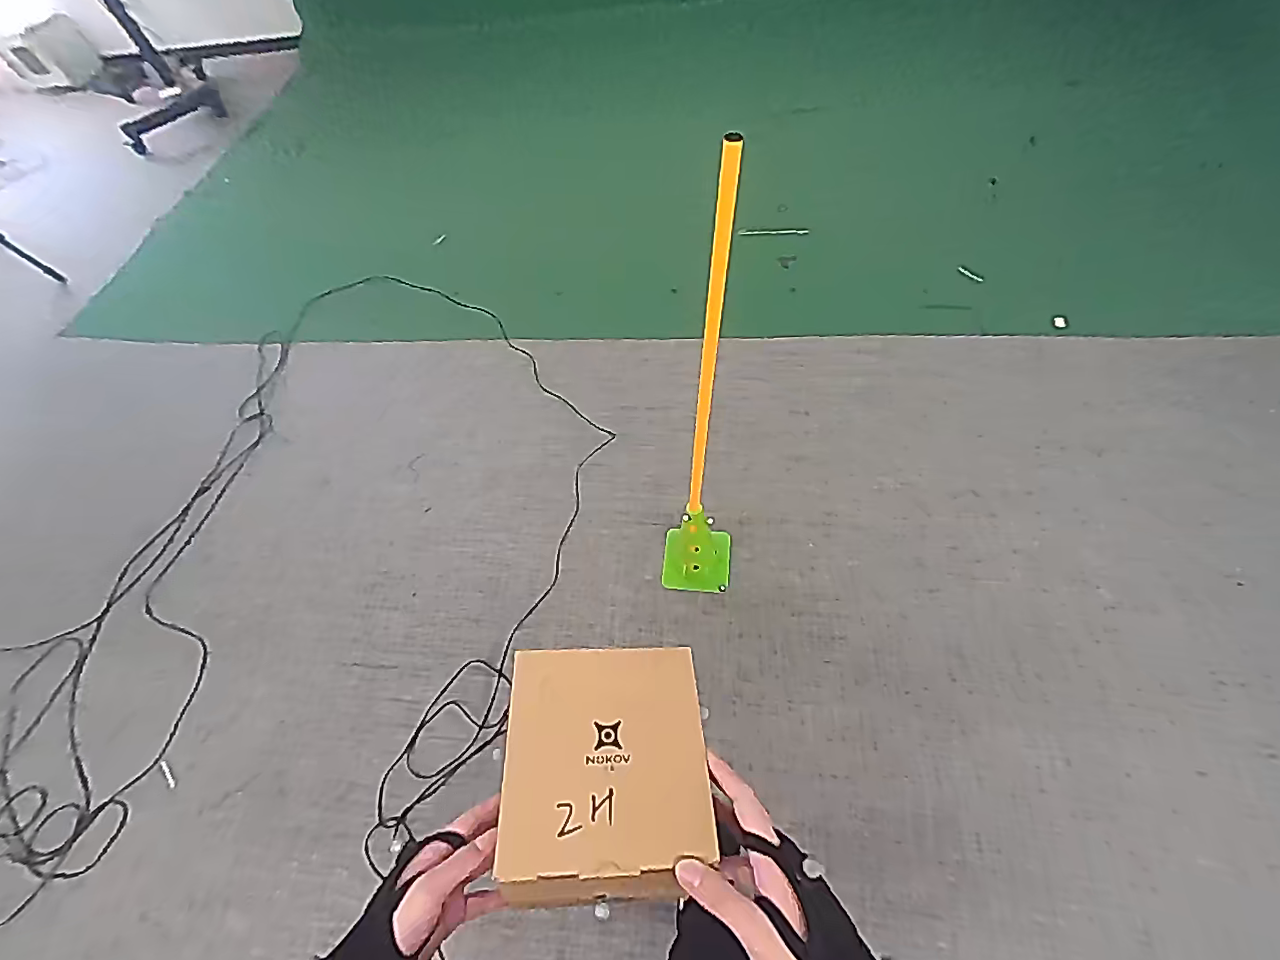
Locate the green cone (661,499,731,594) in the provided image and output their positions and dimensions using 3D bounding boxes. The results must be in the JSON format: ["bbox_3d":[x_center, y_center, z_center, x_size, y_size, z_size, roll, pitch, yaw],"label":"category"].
[{"bbox_3d":[0.150,0.154,1.496,0.202,0.368,0.200,2,58,10],"label":"green cone"}]
